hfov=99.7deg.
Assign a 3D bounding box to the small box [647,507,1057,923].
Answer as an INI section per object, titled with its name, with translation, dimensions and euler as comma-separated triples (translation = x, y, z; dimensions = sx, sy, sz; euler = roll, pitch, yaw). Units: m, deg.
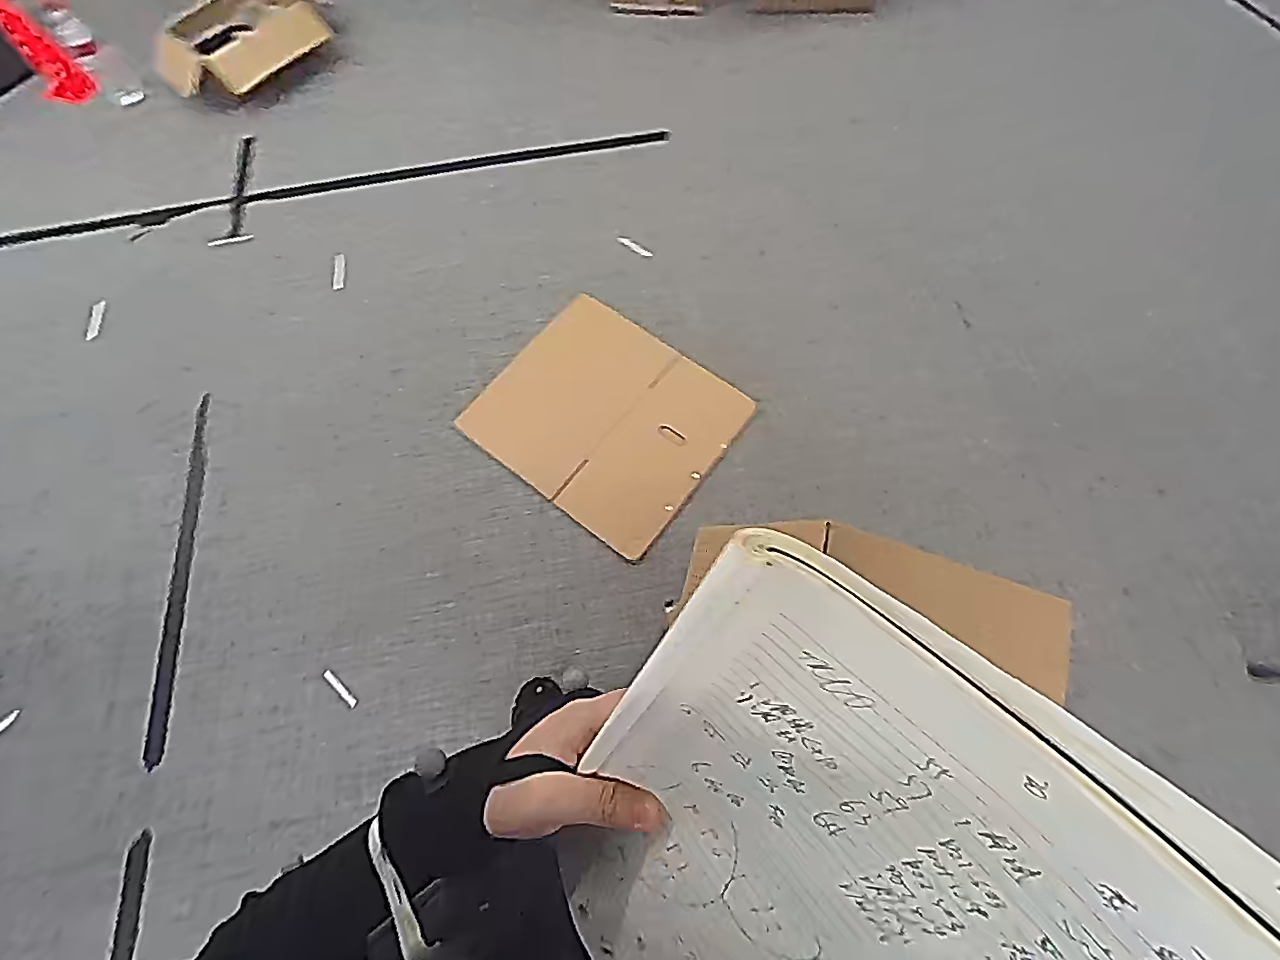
[small box]
translation = 0.118, 0.129, 0.346
dimensions = 0.168, 0.176, 0.179
euler = 18, 78, -14
